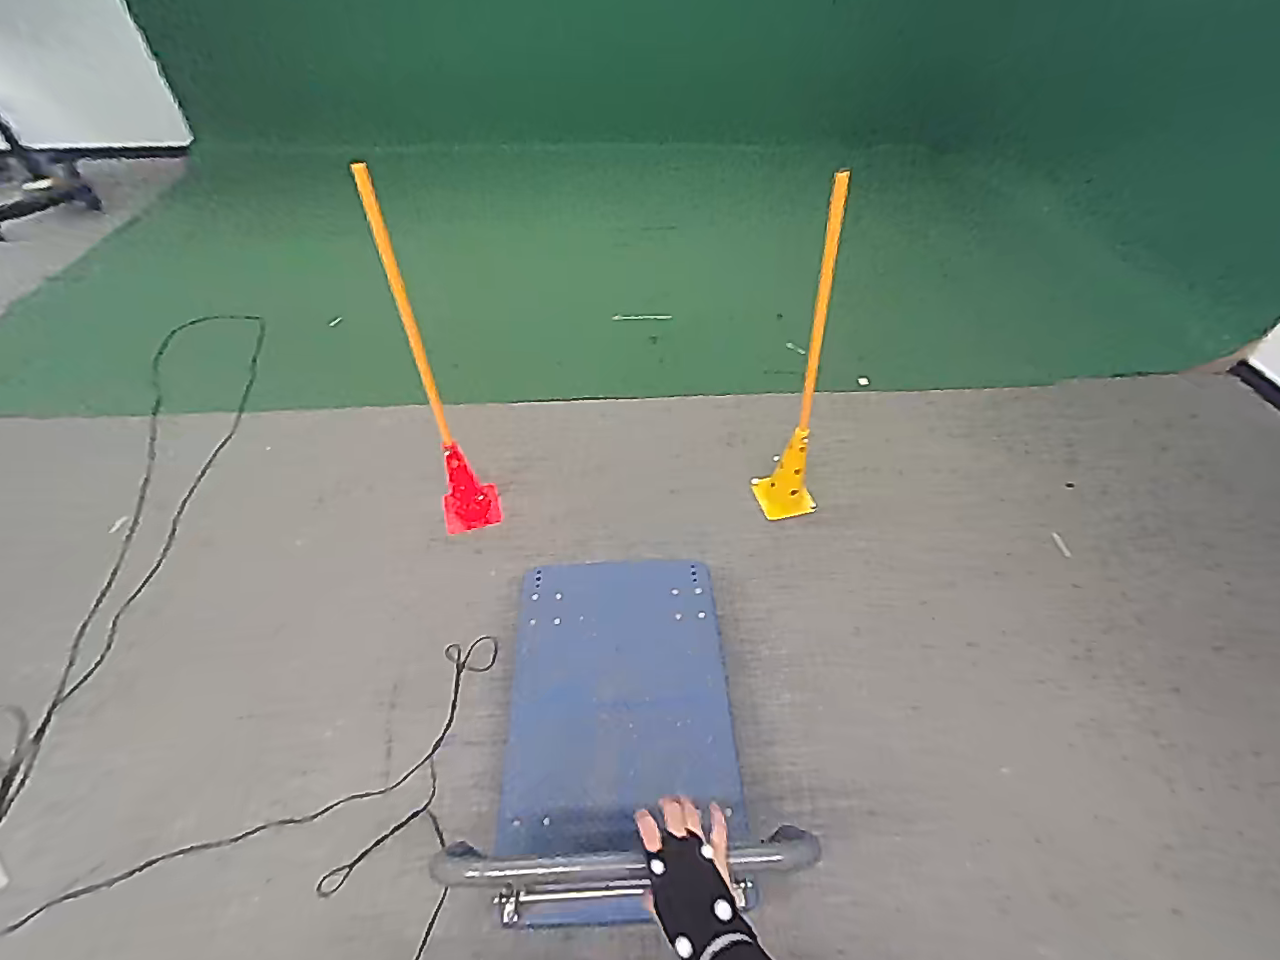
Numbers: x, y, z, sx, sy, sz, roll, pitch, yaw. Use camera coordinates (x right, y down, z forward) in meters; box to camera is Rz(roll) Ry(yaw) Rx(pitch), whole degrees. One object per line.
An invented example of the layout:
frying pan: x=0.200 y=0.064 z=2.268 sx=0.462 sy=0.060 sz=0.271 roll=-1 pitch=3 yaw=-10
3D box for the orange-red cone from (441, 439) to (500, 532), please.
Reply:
orange-red cone: x=-0.636 y=-0.007 z=1.902 sx=0.199 sy=0.360 sz=0.198 roll=-14 pitch=50 yaw=-11
